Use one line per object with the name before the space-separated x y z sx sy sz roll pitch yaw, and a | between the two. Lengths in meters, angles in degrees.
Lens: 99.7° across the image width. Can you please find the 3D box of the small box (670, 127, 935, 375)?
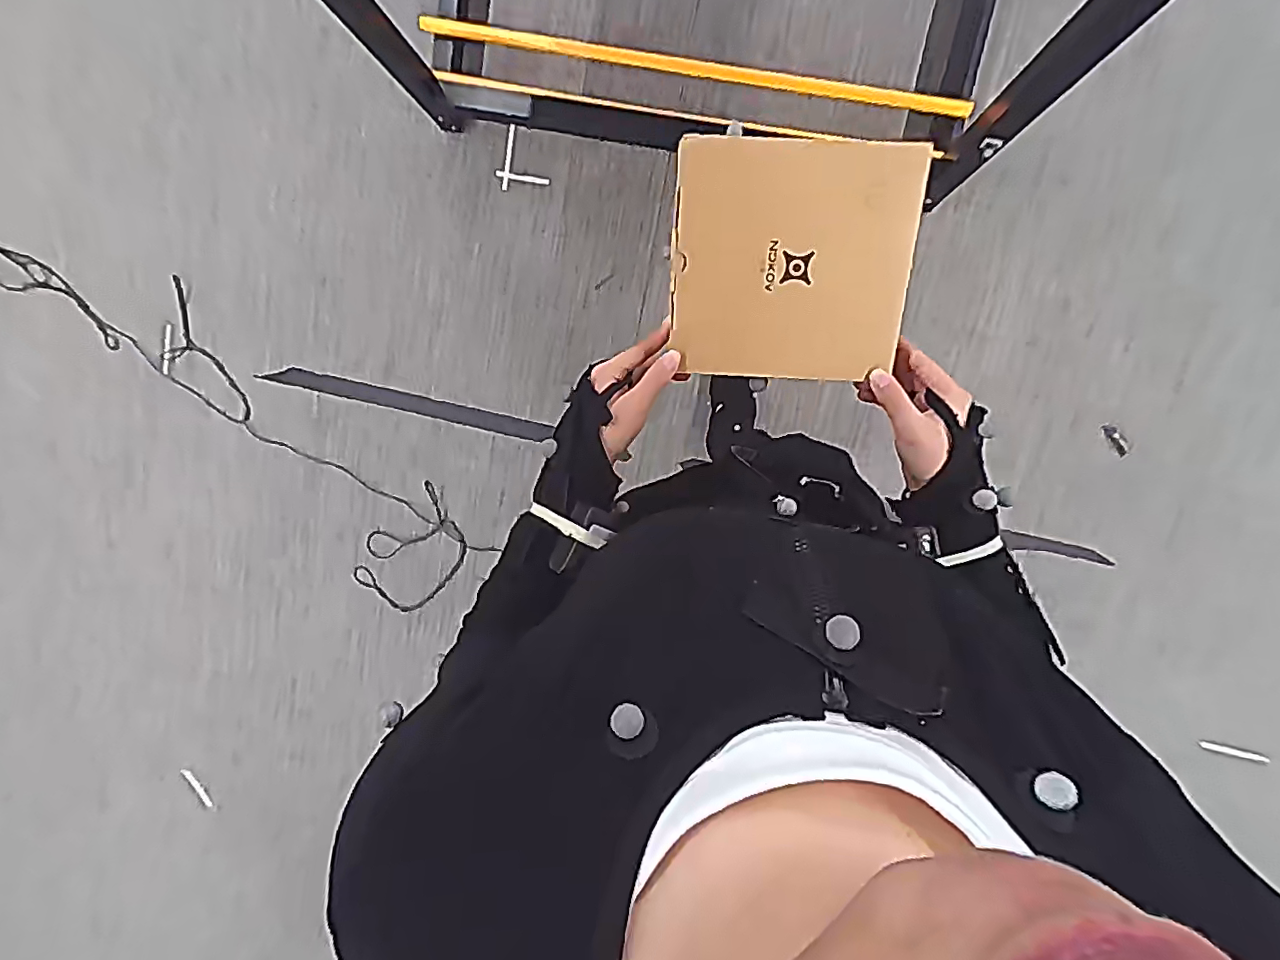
small box | 0.119 -0.191 0.477 0.179 0.176 0.168 4 109 3
